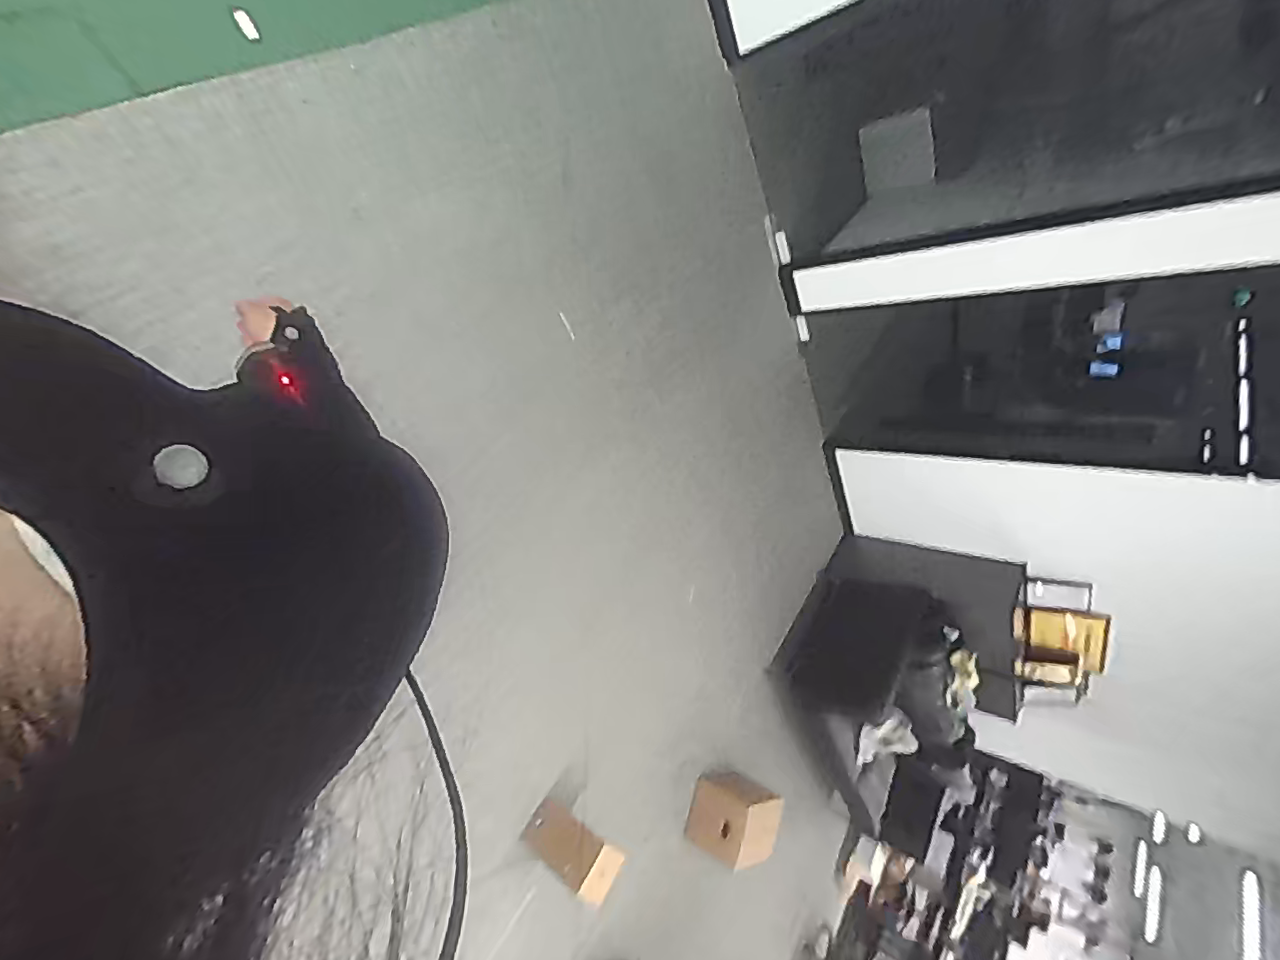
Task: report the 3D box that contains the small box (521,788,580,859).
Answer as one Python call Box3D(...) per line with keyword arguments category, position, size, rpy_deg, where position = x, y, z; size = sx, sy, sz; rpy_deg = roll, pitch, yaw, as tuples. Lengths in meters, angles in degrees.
Box3D(category="small box", position=(-0.326, 1.319, 2.051), size=(0.179, 0.176, 0.168), rpy_deg=(-51, 131, -29))

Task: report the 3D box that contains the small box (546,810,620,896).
Box3D(category="small box", position=(-0.211, 1.331, 1.936), size=(0.179, 0.176, 0.168), rpy_deg=(-54, 133, -29))
